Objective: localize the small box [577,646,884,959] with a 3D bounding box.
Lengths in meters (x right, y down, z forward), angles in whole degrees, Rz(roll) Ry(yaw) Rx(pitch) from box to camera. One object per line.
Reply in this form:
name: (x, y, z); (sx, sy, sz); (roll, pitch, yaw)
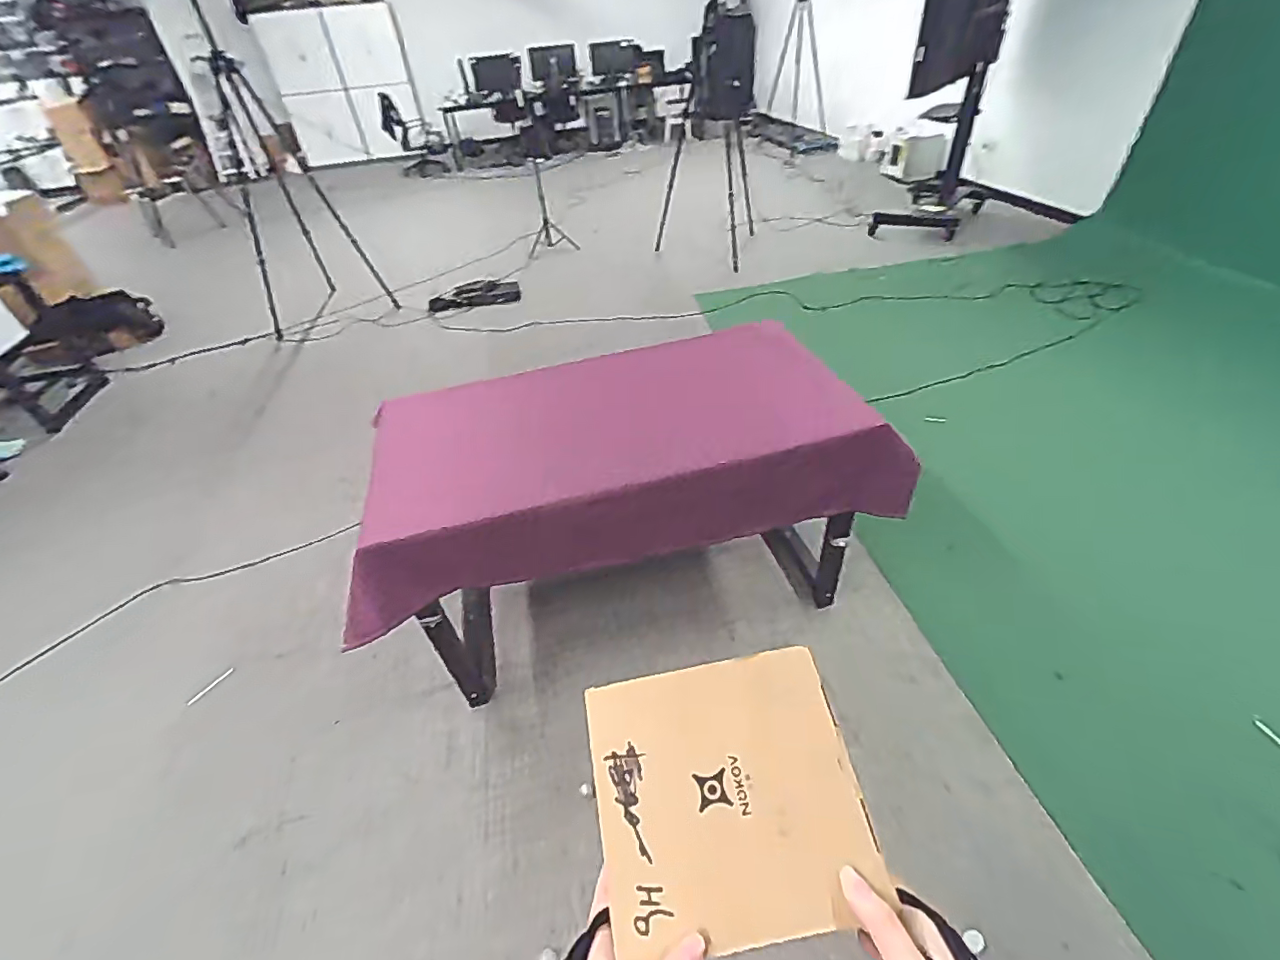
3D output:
small box: (0.056, 0.251, 0.430); (0.179, 0.176, 0.168); (-11, 55, -2)
